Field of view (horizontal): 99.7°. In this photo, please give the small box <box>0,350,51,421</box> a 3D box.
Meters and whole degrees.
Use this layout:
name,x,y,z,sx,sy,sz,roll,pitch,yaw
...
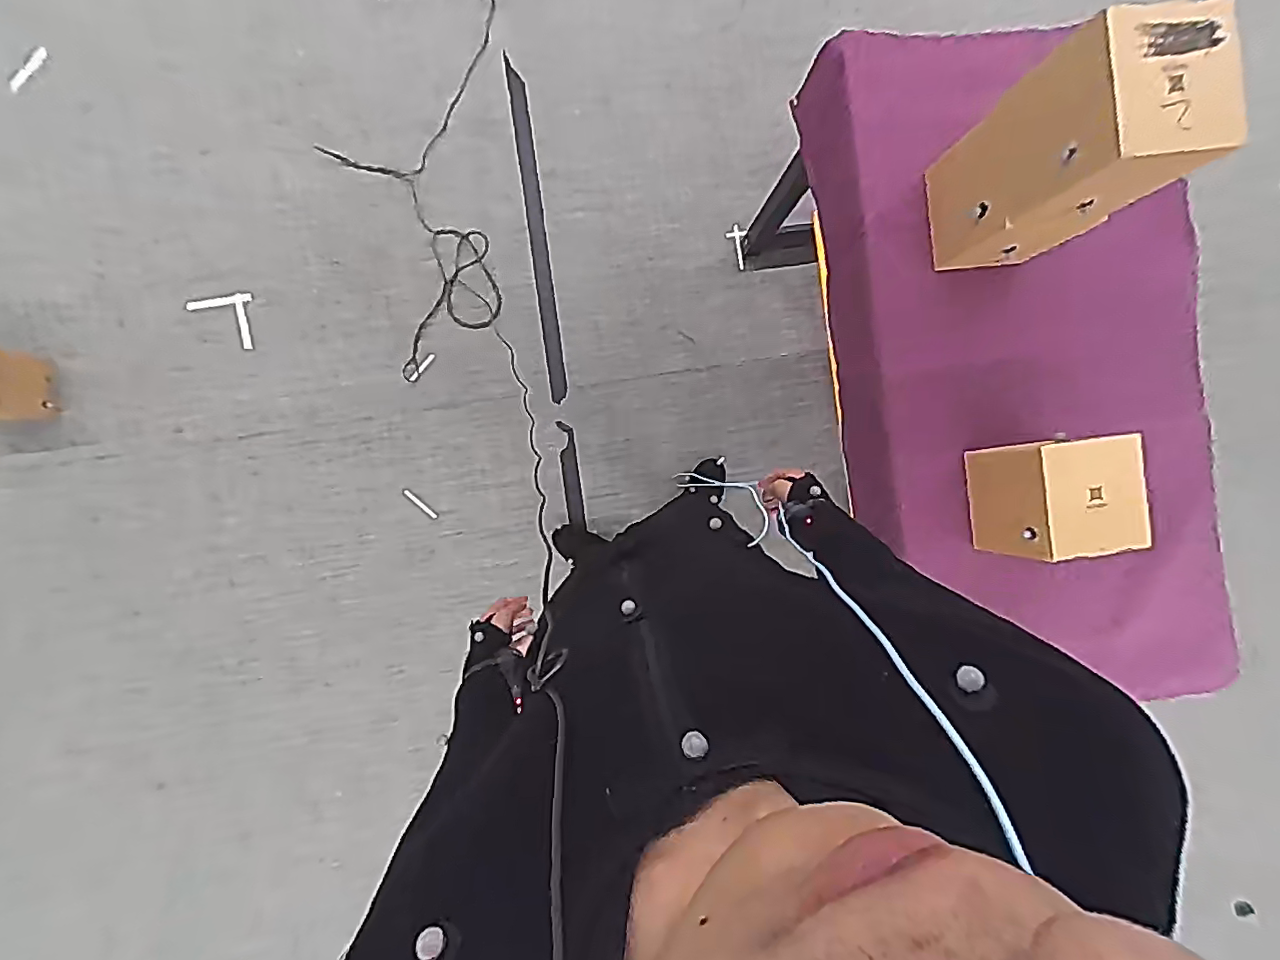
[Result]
name,x,y,z,sx,sy,sz,roll,pitch,yaw
small box,-1.696,-0.246,1.402,0.179,0.176,0.168,-6,91,-4

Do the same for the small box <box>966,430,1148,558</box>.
name,x,y,z,sx,sy,sz,roll,pitch,yaw
small box,0.666,0.020,0.884,0.168,0.176,0.179,-7,92,-6

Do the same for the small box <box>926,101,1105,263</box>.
name,x,y,z,sx,sy,sz,roll,pitch,yaw
small box,0.589,-0.462,0.867,0.168,0.176,0.179,-7,92,-5
